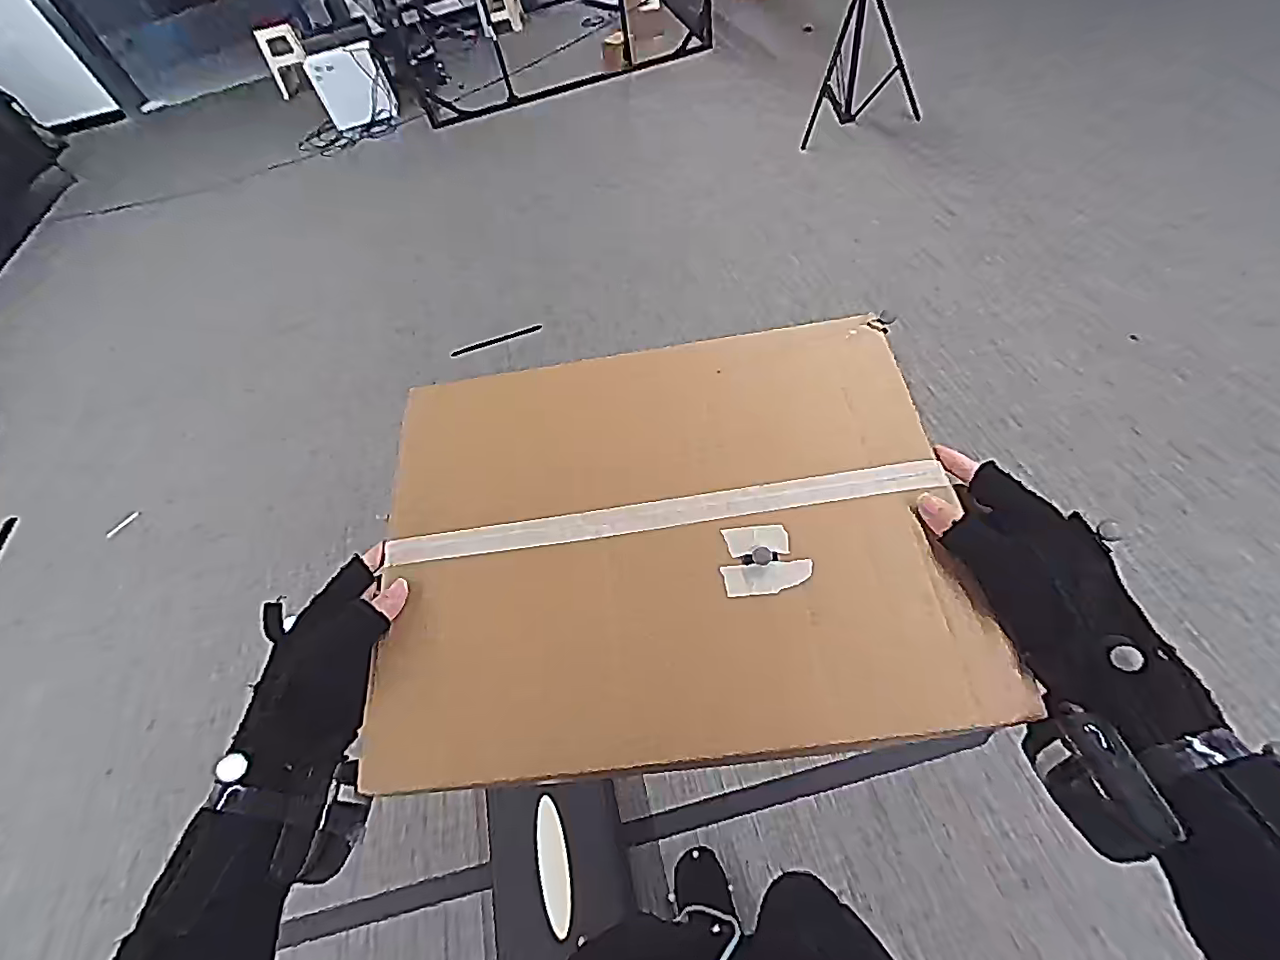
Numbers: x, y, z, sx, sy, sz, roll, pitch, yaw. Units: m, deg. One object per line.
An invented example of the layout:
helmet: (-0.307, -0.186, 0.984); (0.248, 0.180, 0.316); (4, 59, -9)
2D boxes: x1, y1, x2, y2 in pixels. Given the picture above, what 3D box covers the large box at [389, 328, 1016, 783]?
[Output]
large box: (0.033, 0.100, 0.536); (0.408, 0.320, 0.320); (-8, 62, 3)
